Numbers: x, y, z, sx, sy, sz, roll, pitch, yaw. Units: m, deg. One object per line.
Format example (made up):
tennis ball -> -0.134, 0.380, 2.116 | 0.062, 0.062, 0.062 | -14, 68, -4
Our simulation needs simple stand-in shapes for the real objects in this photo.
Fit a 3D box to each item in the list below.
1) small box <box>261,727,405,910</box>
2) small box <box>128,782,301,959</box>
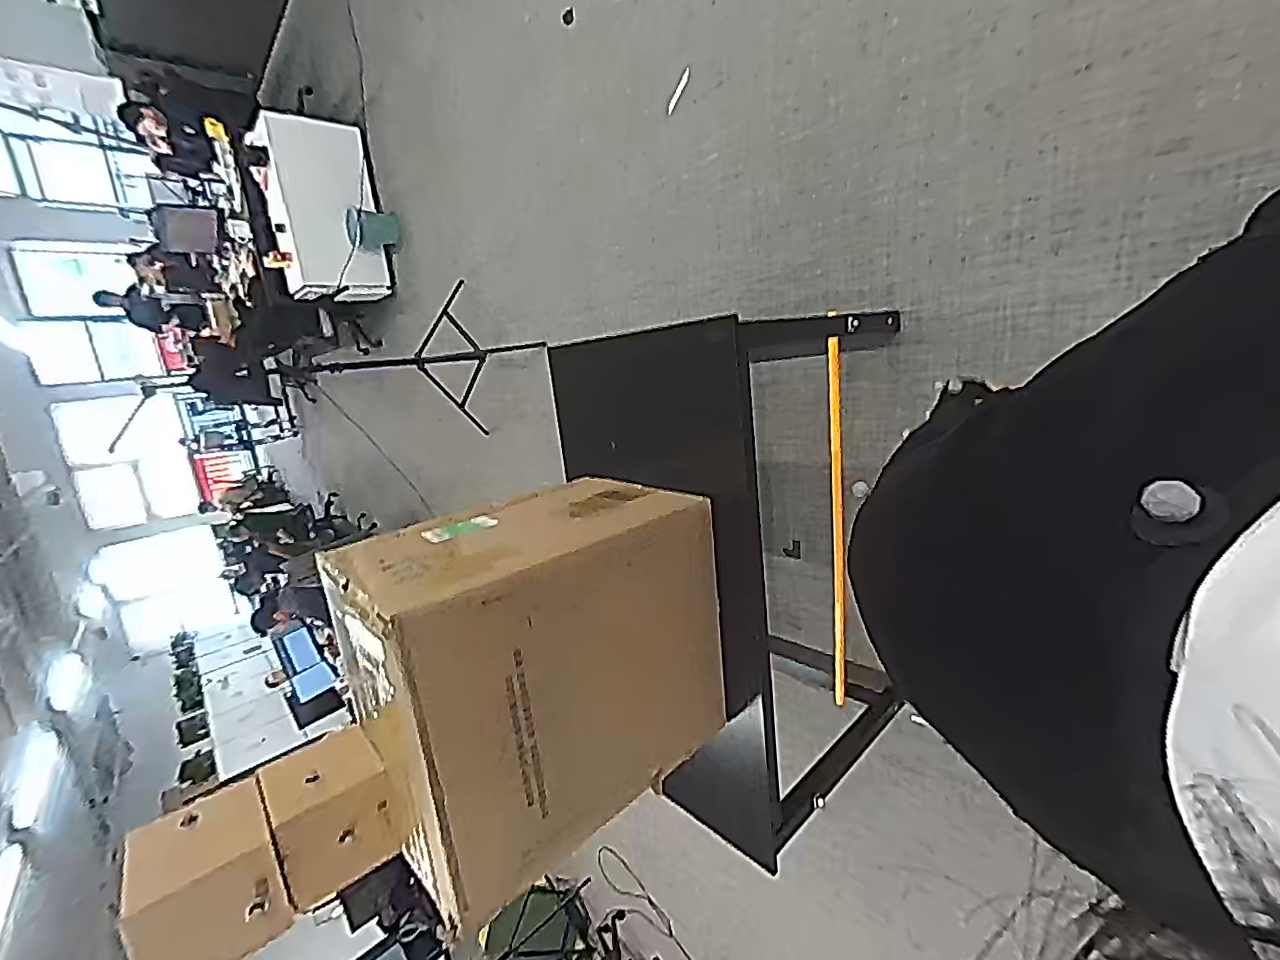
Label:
small box -> -0.520, 0.562, 0.929 | 0.179, 0.176, 0.168 | 8, 108, 48
small box -> -0.632, 0.597, 0.814 | 0.179, 0.176, 0.168 | 11, 112, 47
